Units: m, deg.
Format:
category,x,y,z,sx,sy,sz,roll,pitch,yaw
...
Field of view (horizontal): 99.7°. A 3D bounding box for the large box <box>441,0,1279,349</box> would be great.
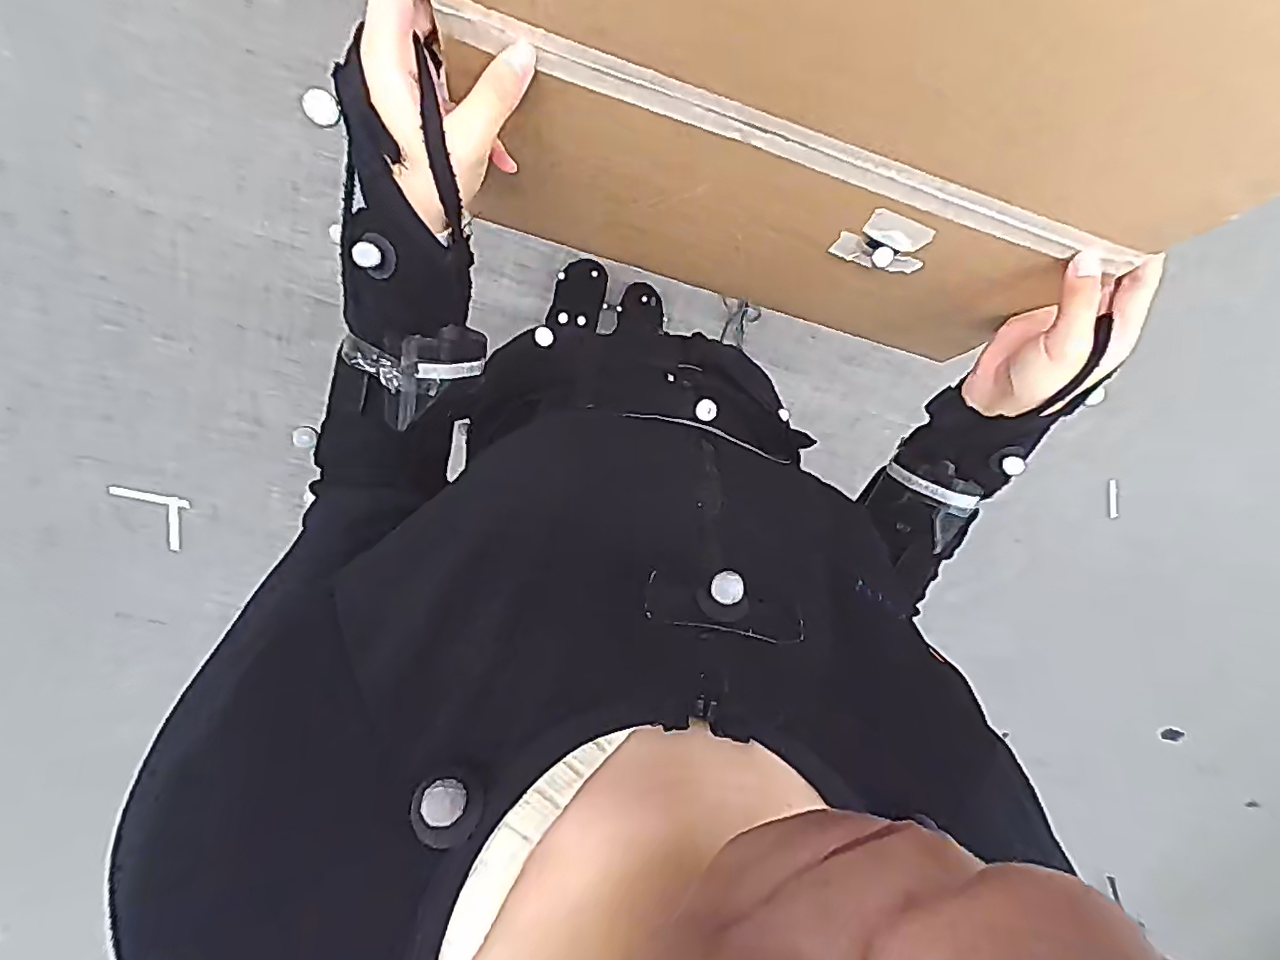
category,x,y,z,sx,sy,sz,roll,pitch,yaw
large box,0.120,-0.323,0.320,0.408,0.320,0.320,12,79,-10
